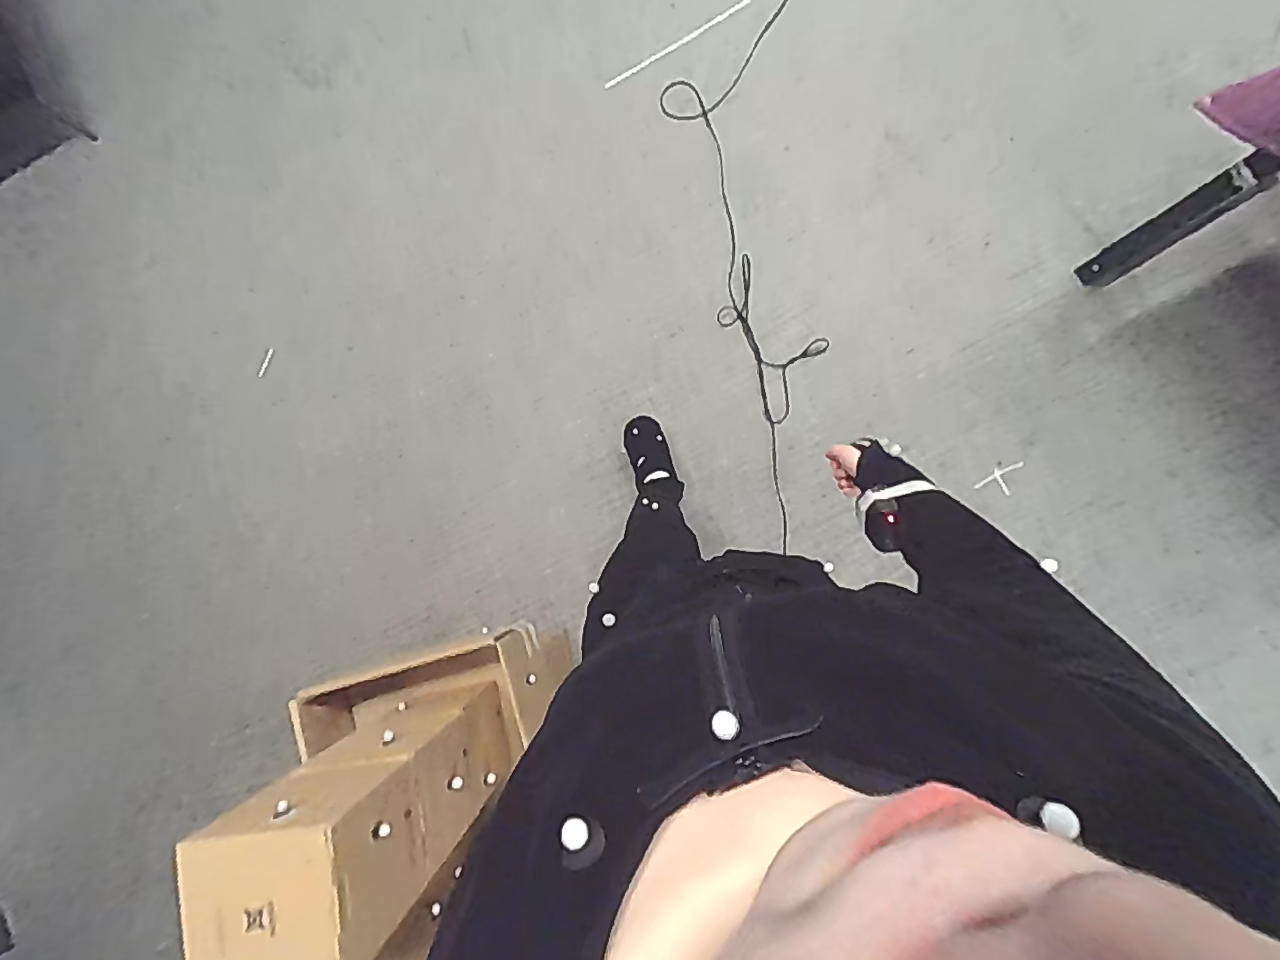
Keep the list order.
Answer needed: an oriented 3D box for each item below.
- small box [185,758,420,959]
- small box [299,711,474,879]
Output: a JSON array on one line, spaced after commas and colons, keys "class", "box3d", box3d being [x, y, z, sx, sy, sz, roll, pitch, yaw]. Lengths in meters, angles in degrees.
[{"class": "small box", "box3d": [-0.380, 0.450, 0.640, 0.179, 0.176, 0.168, -9, 84, 7]}, {"class": "small box", "box3d": [-0.361, 0.461, 0.803, 0.179, 0.176, 0.168, -10, 85, 5]}]
